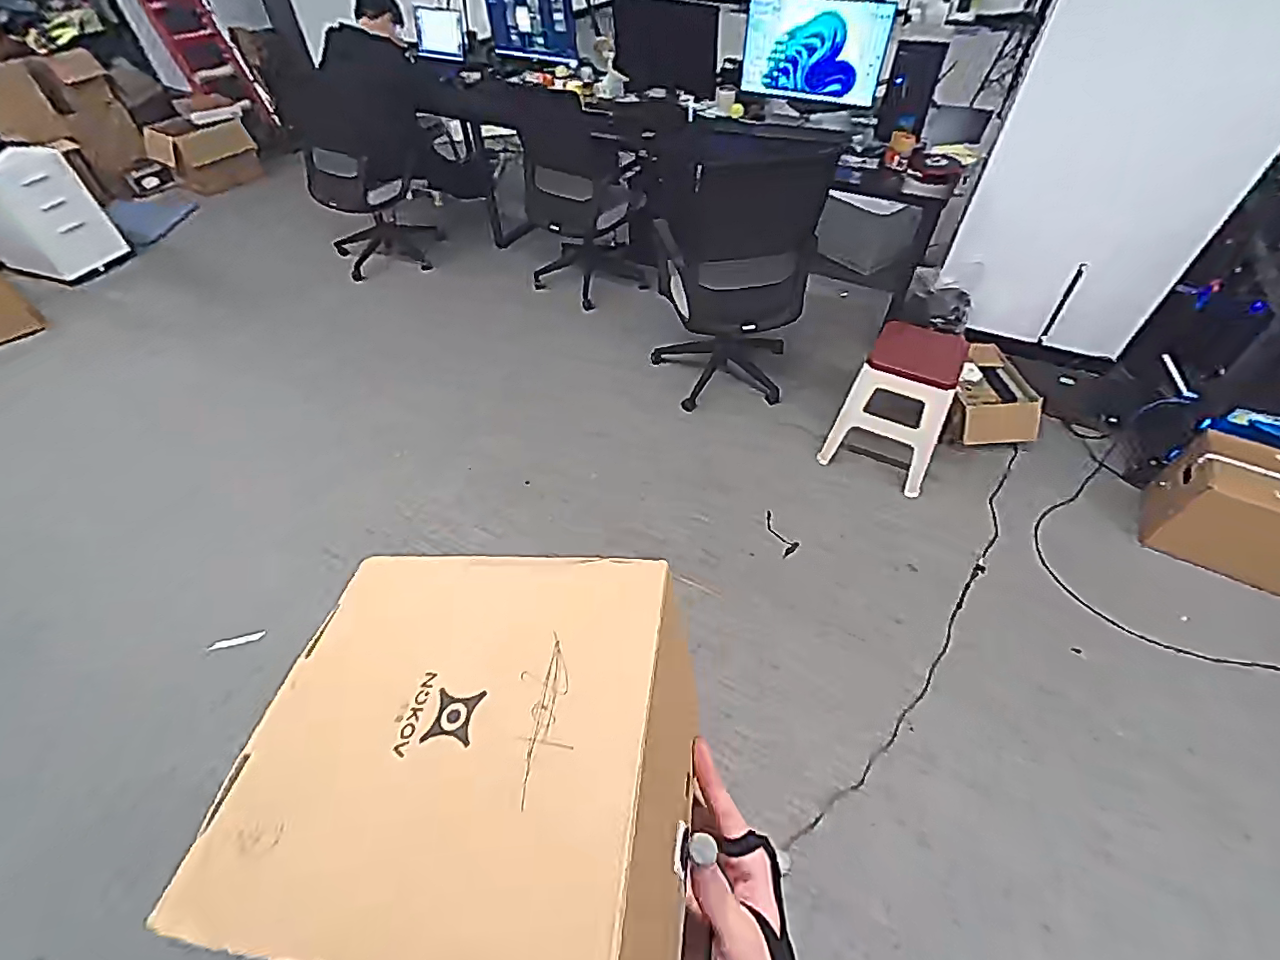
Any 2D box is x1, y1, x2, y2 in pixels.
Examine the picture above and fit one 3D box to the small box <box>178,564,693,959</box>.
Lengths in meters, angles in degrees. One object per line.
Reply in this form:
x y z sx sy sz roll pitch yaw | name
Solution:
-0.070 0.162 0.297 0.179 0.176 0.168 -1 46 12 | small box
